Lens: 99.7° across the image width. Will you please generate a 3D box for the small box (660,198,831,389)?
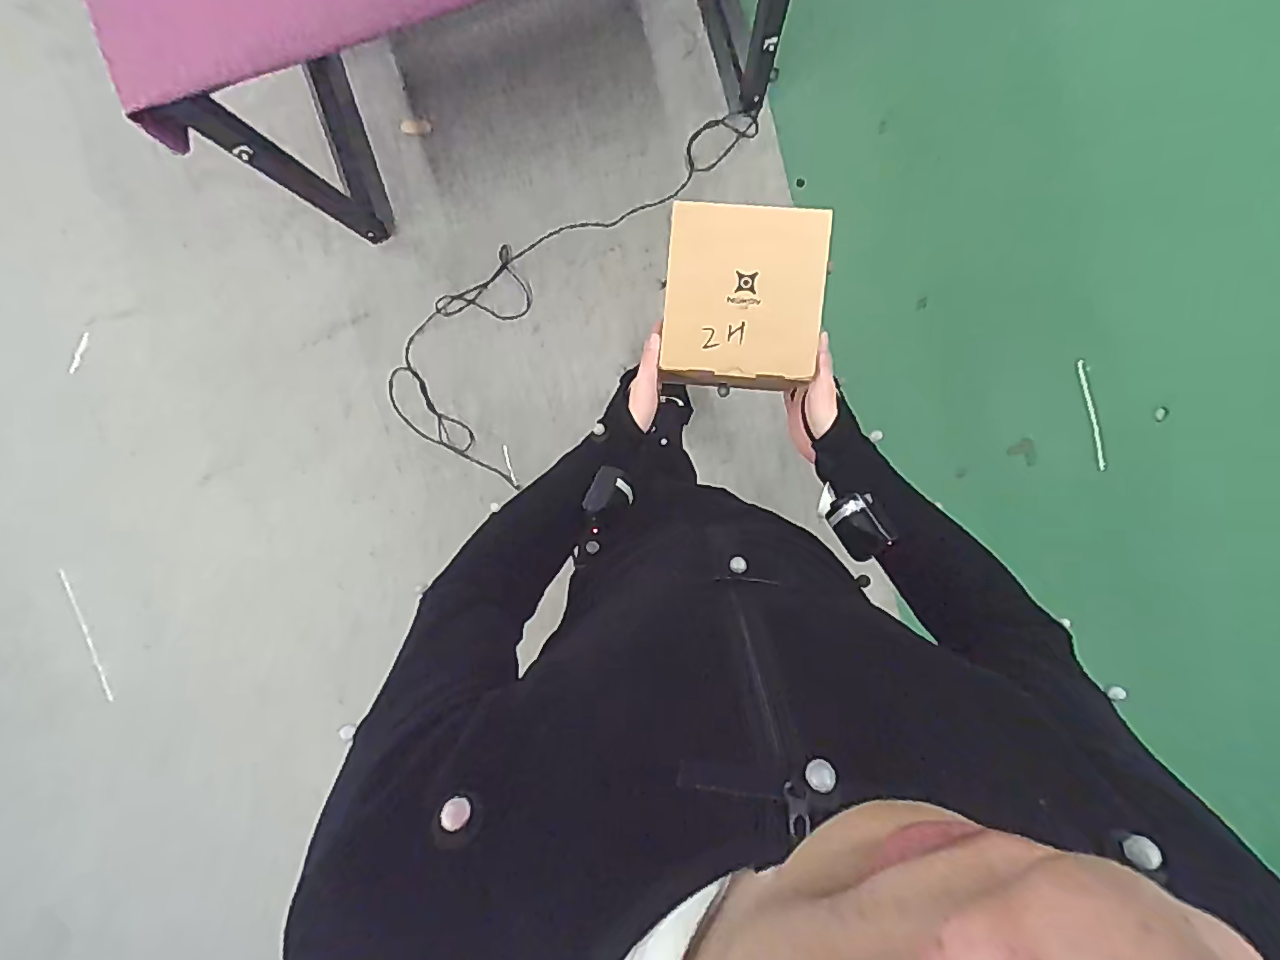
[{"bbox_3d":[0.112,-0.208,0.648,0.168,0.176,0.179,5,97,2],"label":"small box"}]
